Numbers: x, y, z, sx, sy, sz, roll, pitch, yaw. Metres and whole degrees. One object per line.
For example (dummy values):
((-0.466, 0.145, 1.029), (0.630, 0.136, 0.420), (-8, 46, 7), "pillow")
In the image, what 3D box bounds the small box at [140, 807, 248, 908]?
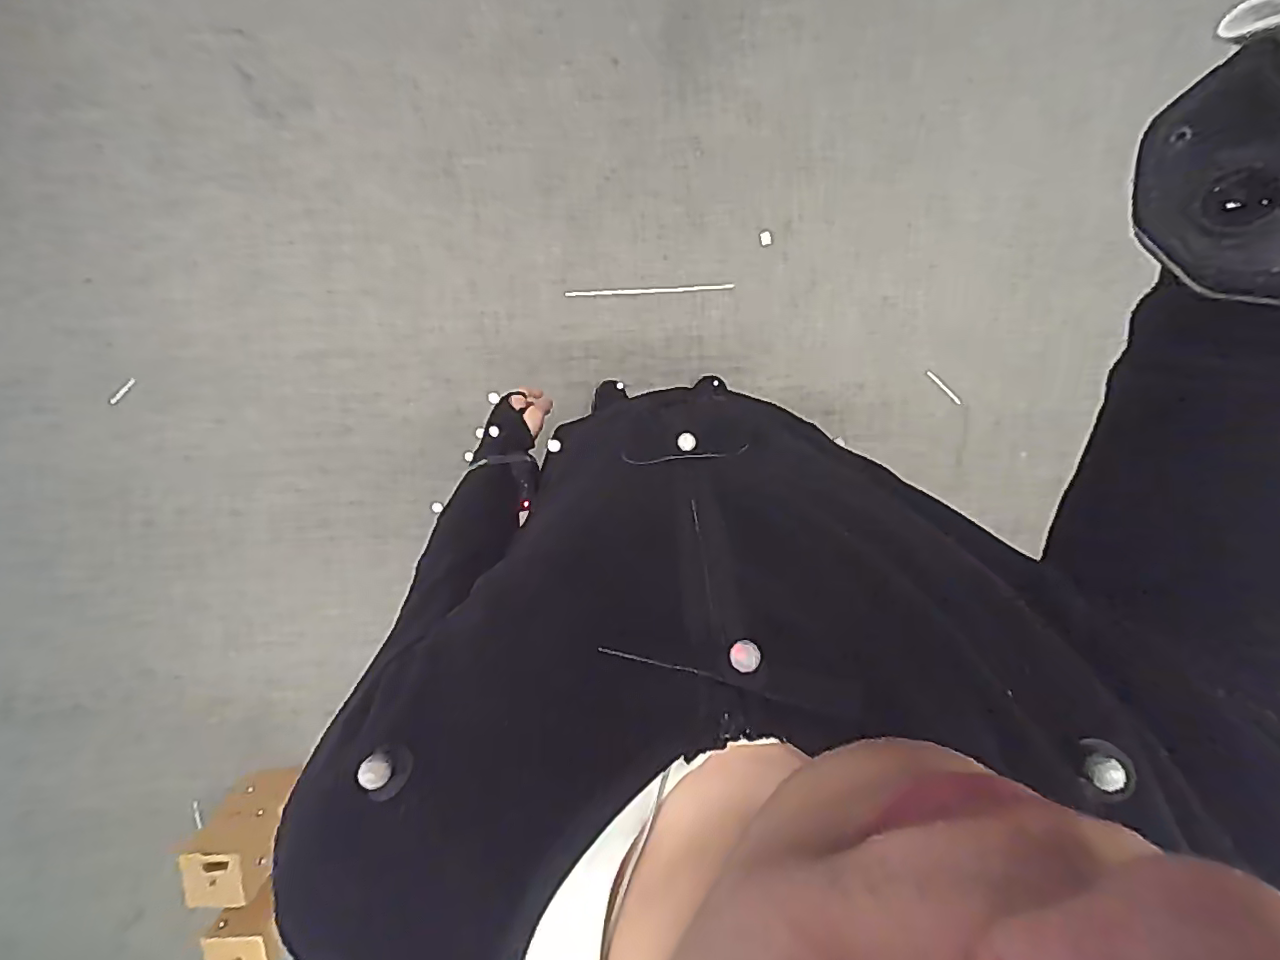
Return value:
((-1.248, 1.057, 1.525), (0.168, 0.176, 0.179), (2, 101, -1), "small box")

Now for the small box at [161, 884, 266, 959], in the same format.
((-1.230, 1.322, 1.578), (0.179, 0.176, 0.168), (-2, 101, -1), "small box")

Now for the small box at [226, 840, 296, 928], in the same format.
((-1.235, 1.294, 1.737), (0.179, 0.176, 0.168), (1, 100, -2), "small box")
